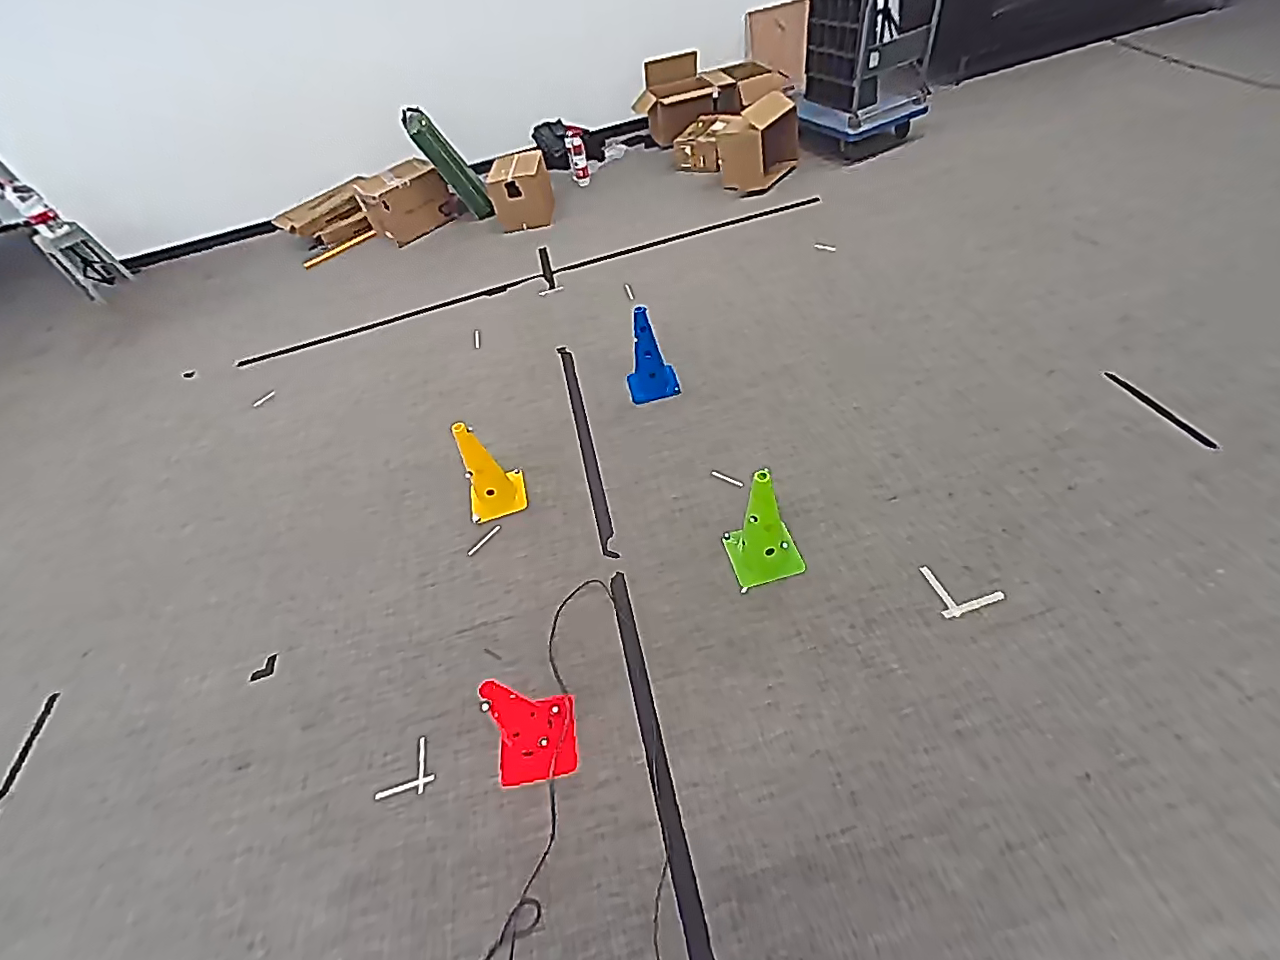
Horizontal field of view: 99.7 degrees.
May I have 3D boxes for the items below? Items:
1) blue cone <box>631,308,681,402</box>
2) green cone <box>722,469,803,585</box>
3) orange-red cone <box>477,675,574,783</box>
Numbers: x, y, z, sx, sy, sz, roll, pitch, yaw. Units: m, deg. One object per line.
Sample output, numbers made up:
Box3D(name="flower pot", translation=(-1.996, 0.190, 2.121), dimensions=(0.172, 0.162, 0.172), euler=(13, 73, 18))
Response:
Box3D(name="blue cone", translation=(0.040, -0.503, 2.127), dimensions=(0.192, 0.380, 0.193), euler=(-12, 48, 0))
Box3D(name="green cone", translation=(0.342, 0.106, 1.508), dimensions=(0.202, 0.368, 0.200), euler=(-15, 48, -2))
Box3D(name="orange-red cone", translation=(-0.297, 0.548, 1.267), dimensions=(0.199, 0.360, 0.198), euler=(-13, 46, 2))
